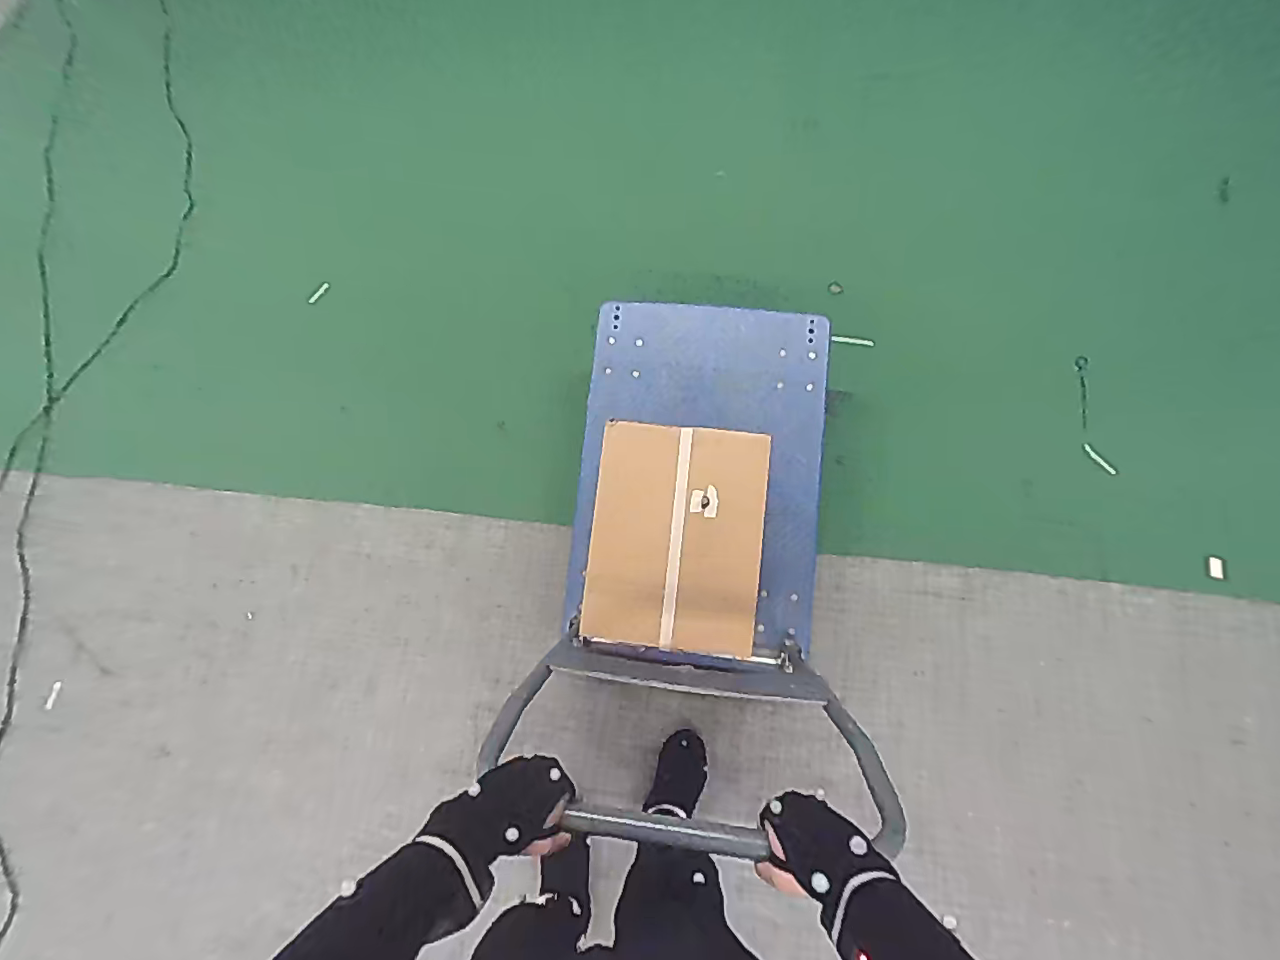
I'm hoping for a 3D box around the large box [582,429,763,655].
[{"bbox_3d":[0.077,0.129,1.155,0.320,0.320,0.408,6,83,5],"label":"large box"}]
